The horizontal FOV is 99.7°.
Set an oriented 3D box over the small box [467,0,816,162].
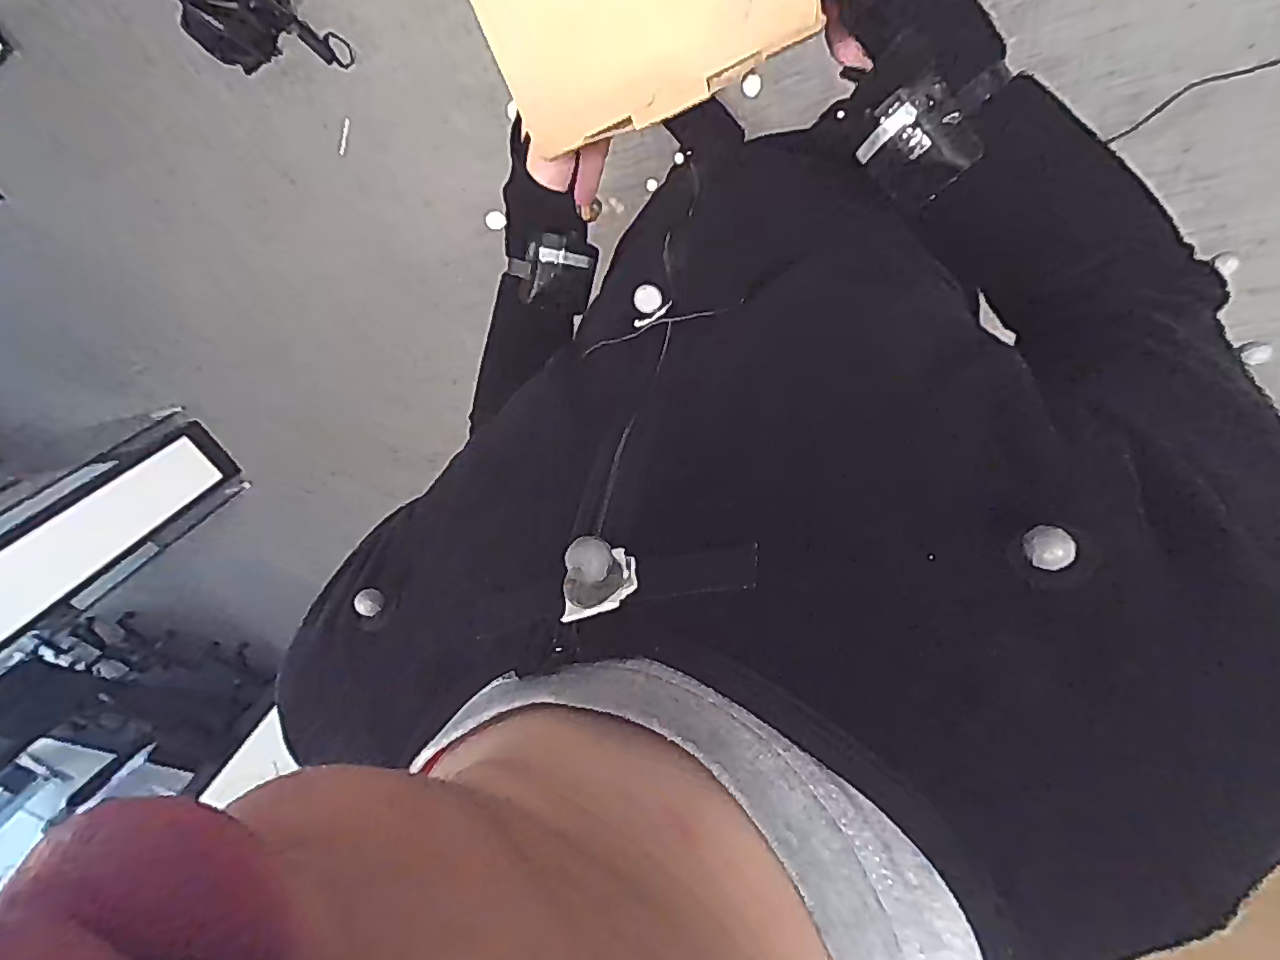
[{"bbox_3d":[0.001,-0.318,0.309,0.168,0.176,0.179,-10,123,26],"label":"small box"}]
